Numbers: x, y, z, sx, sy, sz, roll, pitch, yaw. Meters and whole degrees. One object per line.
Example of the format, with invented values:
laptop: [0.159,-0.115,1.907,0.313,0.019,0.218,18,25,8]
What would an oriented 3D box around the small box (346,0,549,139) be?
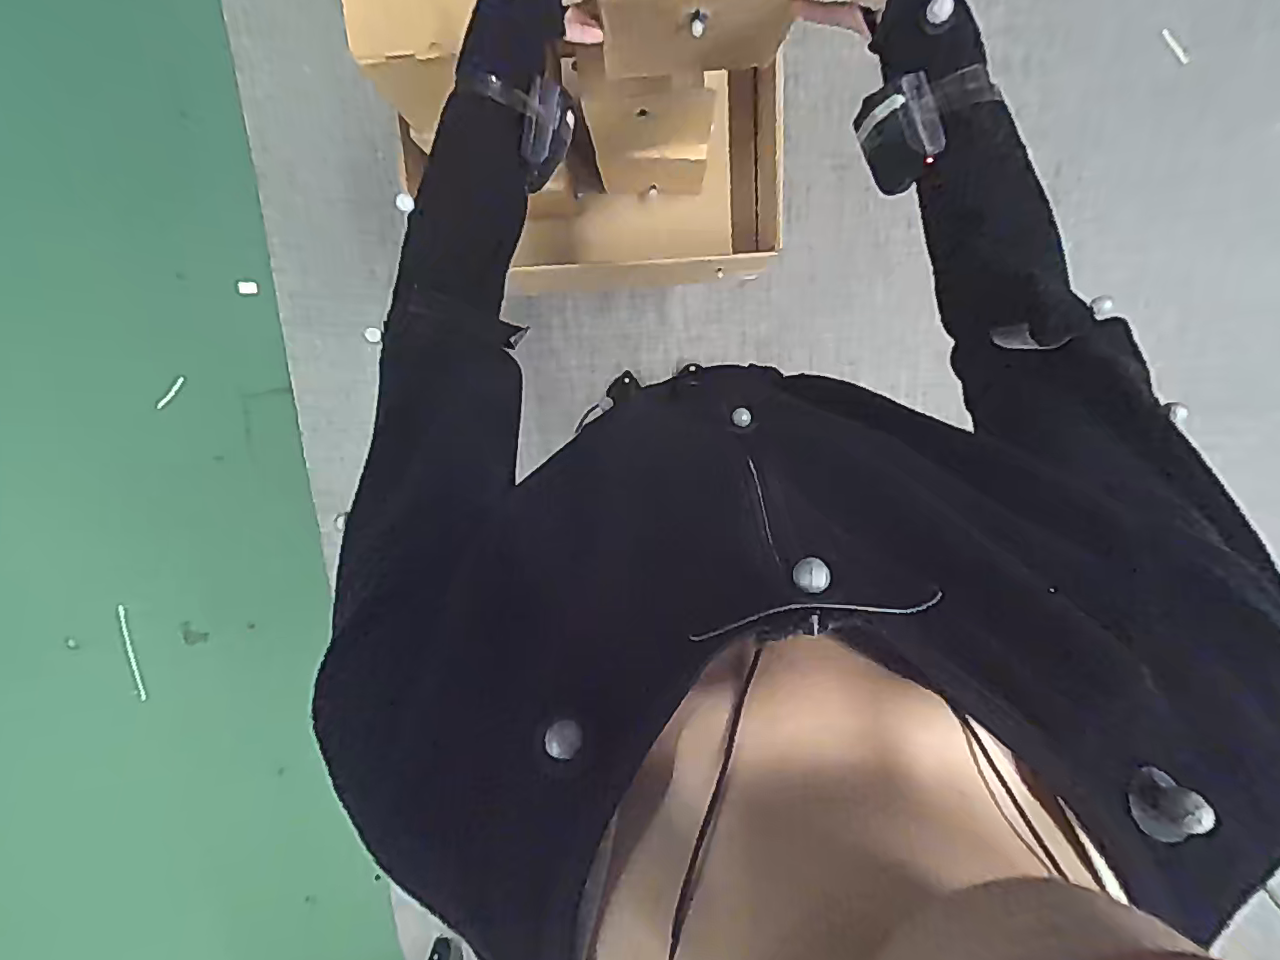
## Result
small box: [-0.200,-0.506,0.586,0.168,0.176,0.179,-4,100,1]
